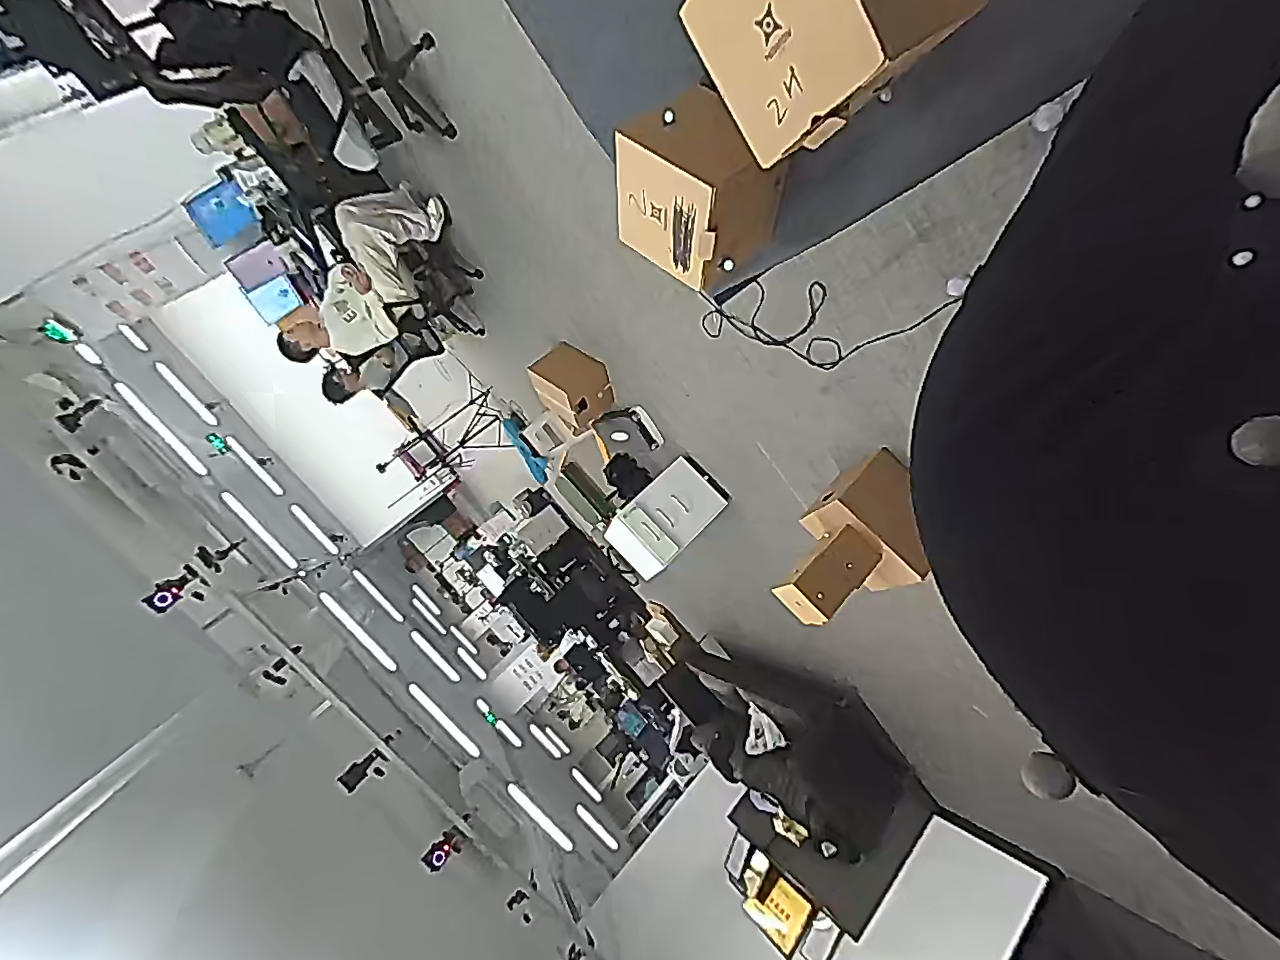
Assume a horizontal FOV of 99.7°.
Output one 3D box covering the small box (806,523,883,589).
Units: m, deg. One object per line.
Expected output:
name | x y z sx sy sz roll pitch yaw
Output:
small box | 0.747 0.286 1.983 0.179 0.176 0.168 46 159 6

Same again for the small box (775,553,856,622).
small box | 0.626 0.379 1.926 0.179 0.176 0.168 45 158 5

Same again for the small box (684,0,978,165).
small box | 0.182 -0.461 0.526 0.179 0.176 0.168 54 160 -14
